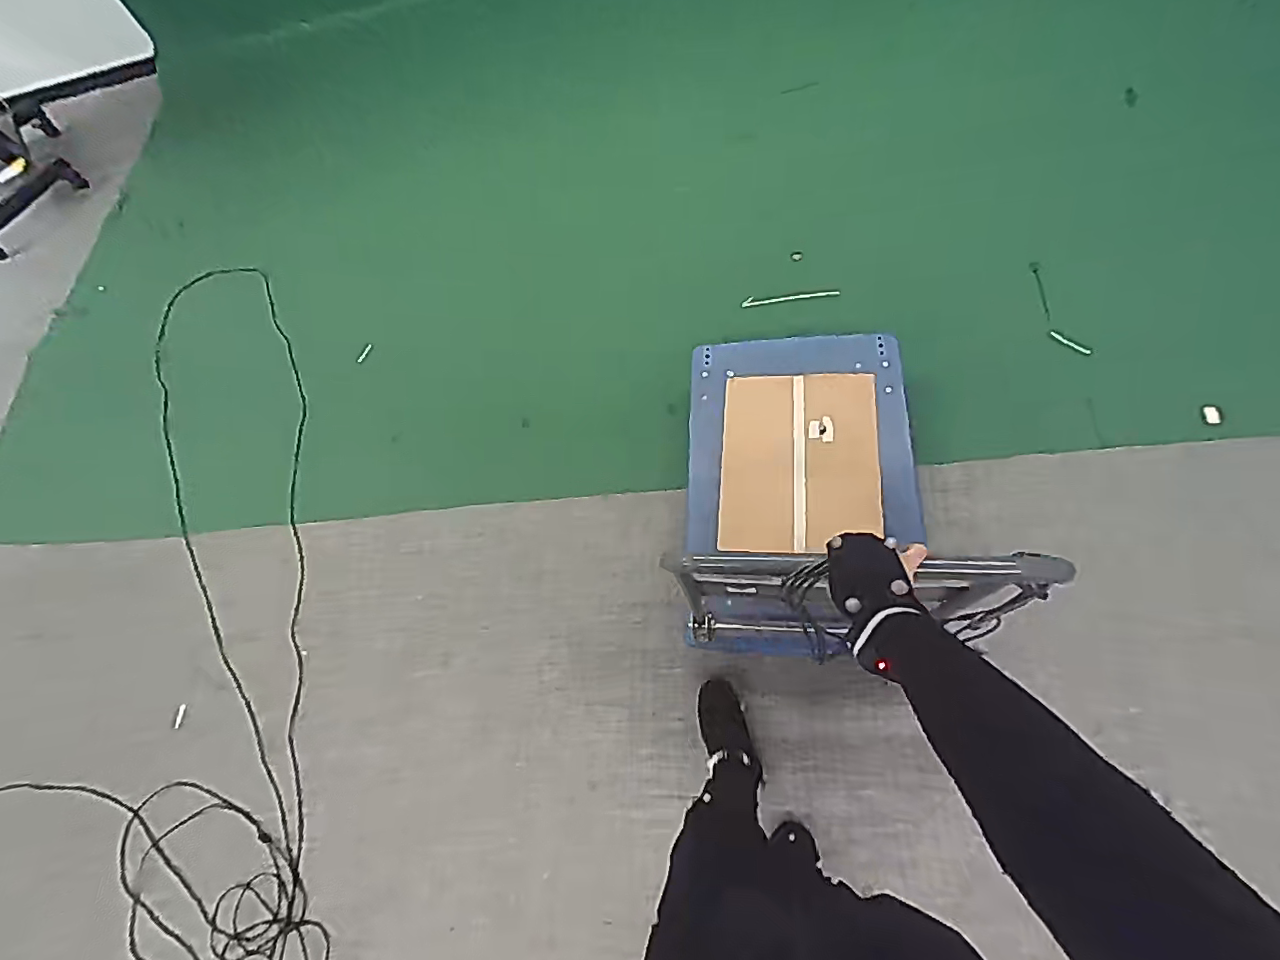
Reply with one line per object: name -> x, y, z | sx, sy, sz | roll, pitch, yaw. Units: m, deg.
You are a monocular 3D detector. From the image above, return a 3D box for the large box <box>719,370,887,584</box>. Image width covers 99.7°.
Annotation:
large box -> 0.353, 0.007, 1.234 | 0.320, 0.320, 0.408 | 2, 68, 12
